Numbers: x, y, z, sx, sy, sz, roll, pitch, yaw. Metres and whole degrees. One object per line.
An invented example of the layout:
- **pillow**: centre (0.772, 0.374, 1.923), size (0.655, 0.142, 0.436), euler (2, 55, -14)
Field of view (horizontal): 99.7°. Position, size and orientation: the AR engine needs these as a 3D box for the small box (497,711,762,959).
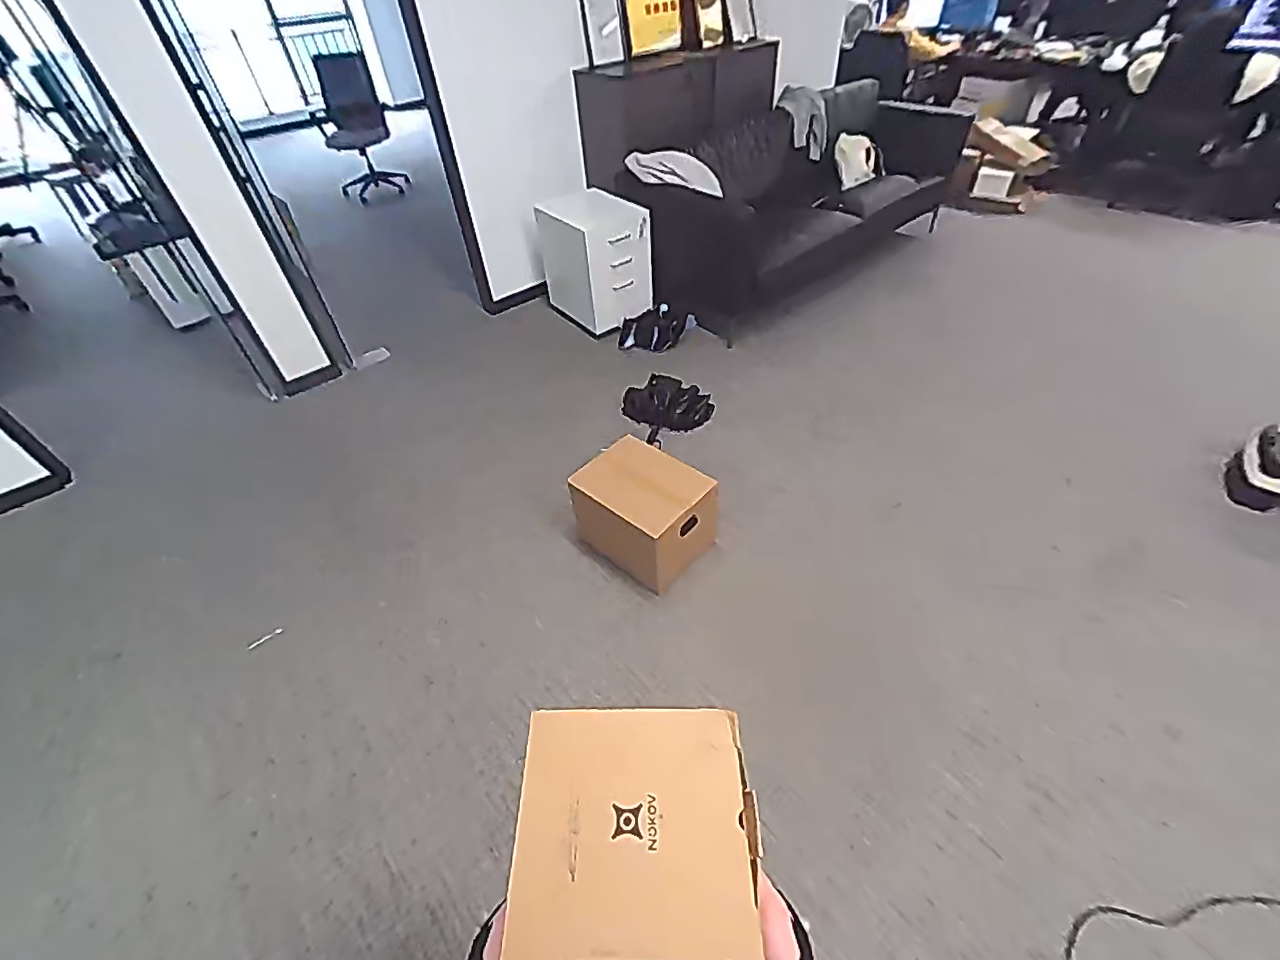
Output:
- **small box**: centre (-0.005, 0.310, 0.462), size (0.179, 0.176, 0.168), euler (-2, 47, 1)
